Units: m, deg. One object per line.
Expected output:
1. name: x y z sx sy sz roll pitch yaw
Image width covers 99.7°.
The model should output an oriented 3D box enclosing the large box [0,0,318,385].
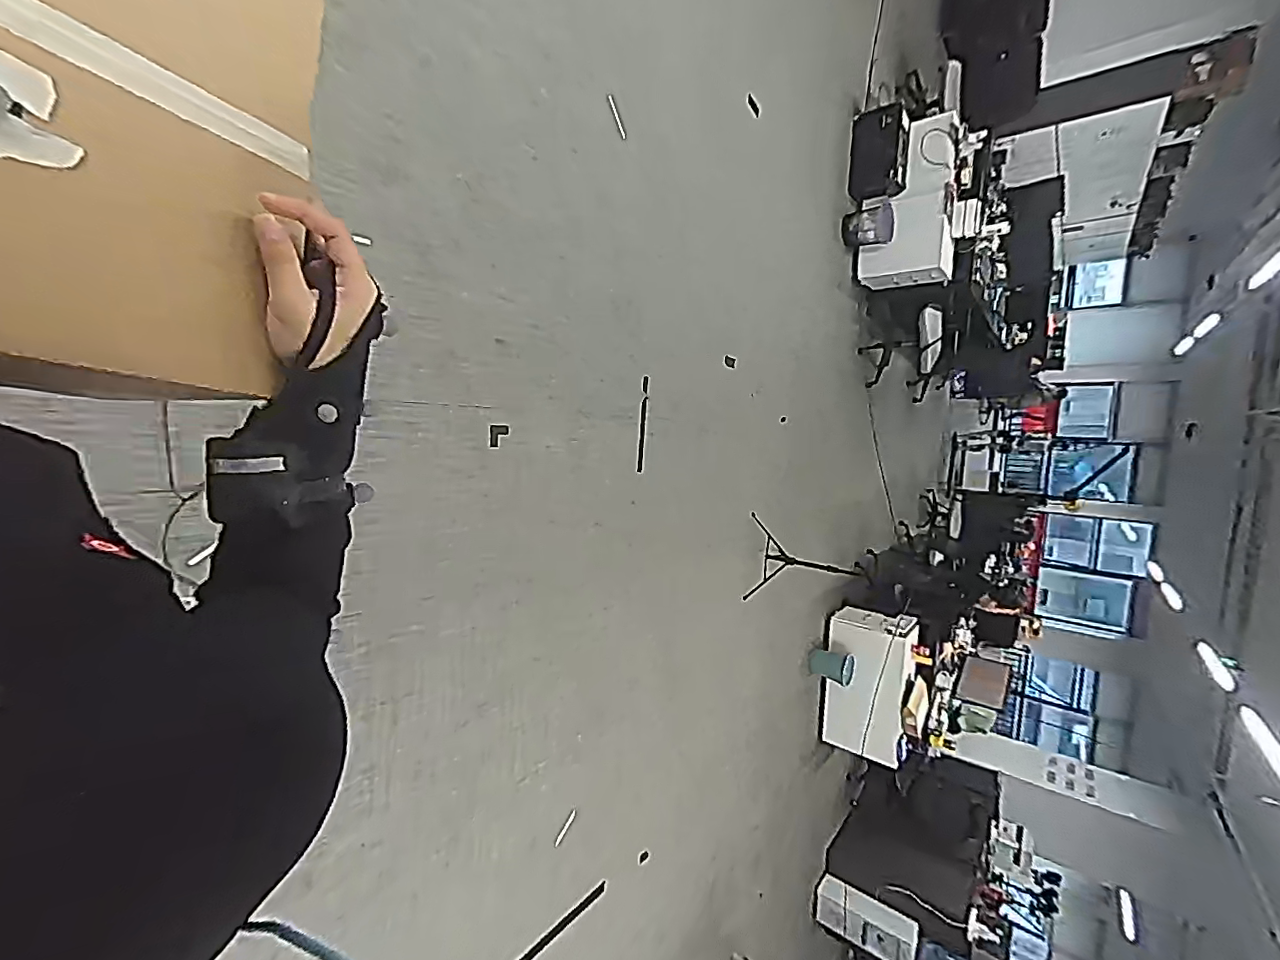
1. large box: -0.460 -0.239 0.276 0.408 0.320 0.320 6 90 -60
